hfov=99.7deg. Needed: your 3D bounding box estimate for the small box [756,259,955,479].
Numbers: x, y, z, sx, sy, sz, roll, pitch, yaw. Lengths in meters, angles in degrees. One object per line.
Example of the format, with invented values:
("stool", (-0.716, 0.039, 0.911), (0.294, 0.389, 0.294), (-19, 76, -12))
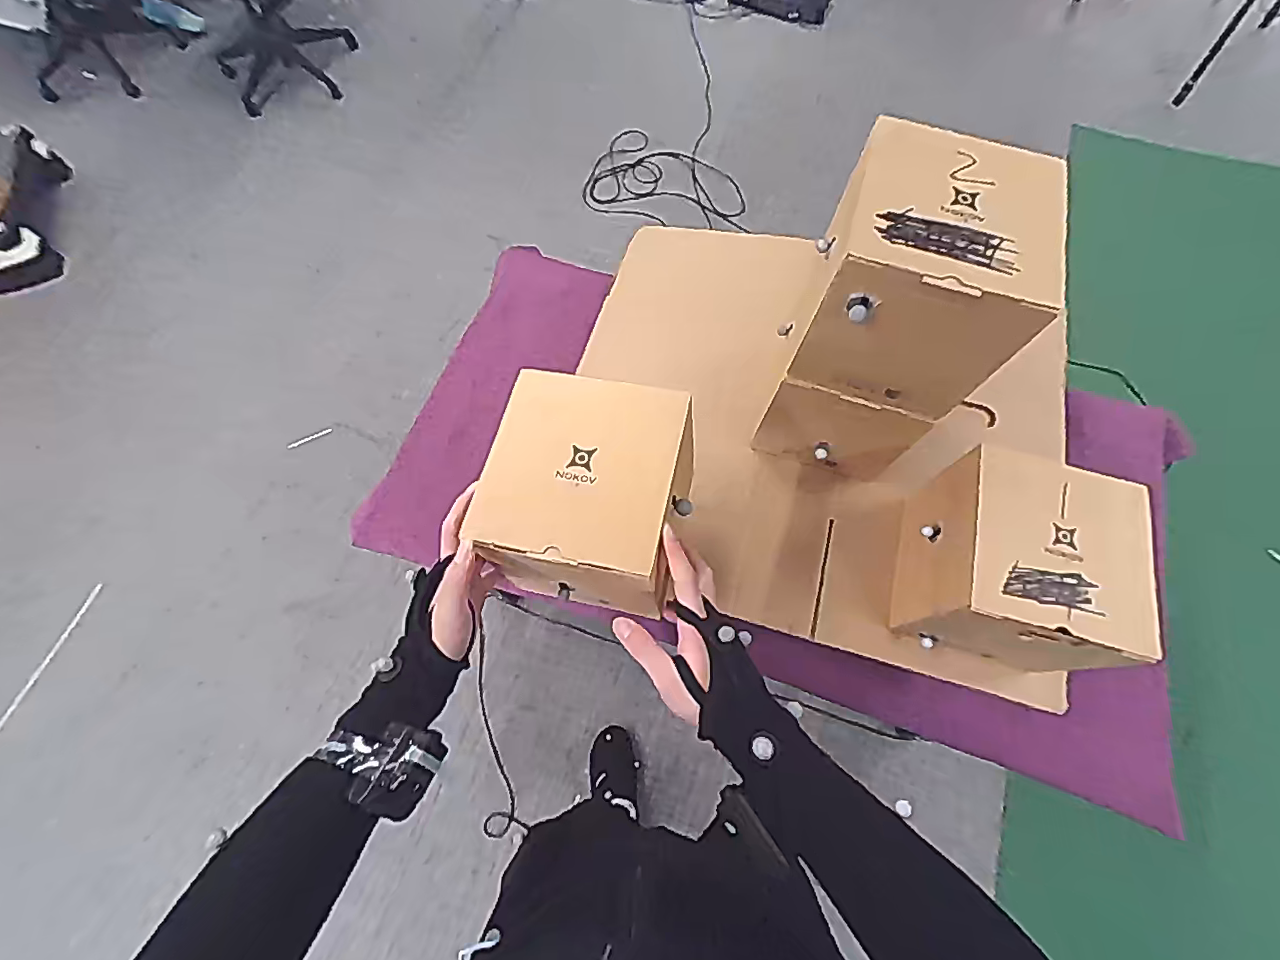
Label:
("small box", (0.253, -0.128, 0.663), (0.168, 0.176, 0.179), (17, 68, 5))
